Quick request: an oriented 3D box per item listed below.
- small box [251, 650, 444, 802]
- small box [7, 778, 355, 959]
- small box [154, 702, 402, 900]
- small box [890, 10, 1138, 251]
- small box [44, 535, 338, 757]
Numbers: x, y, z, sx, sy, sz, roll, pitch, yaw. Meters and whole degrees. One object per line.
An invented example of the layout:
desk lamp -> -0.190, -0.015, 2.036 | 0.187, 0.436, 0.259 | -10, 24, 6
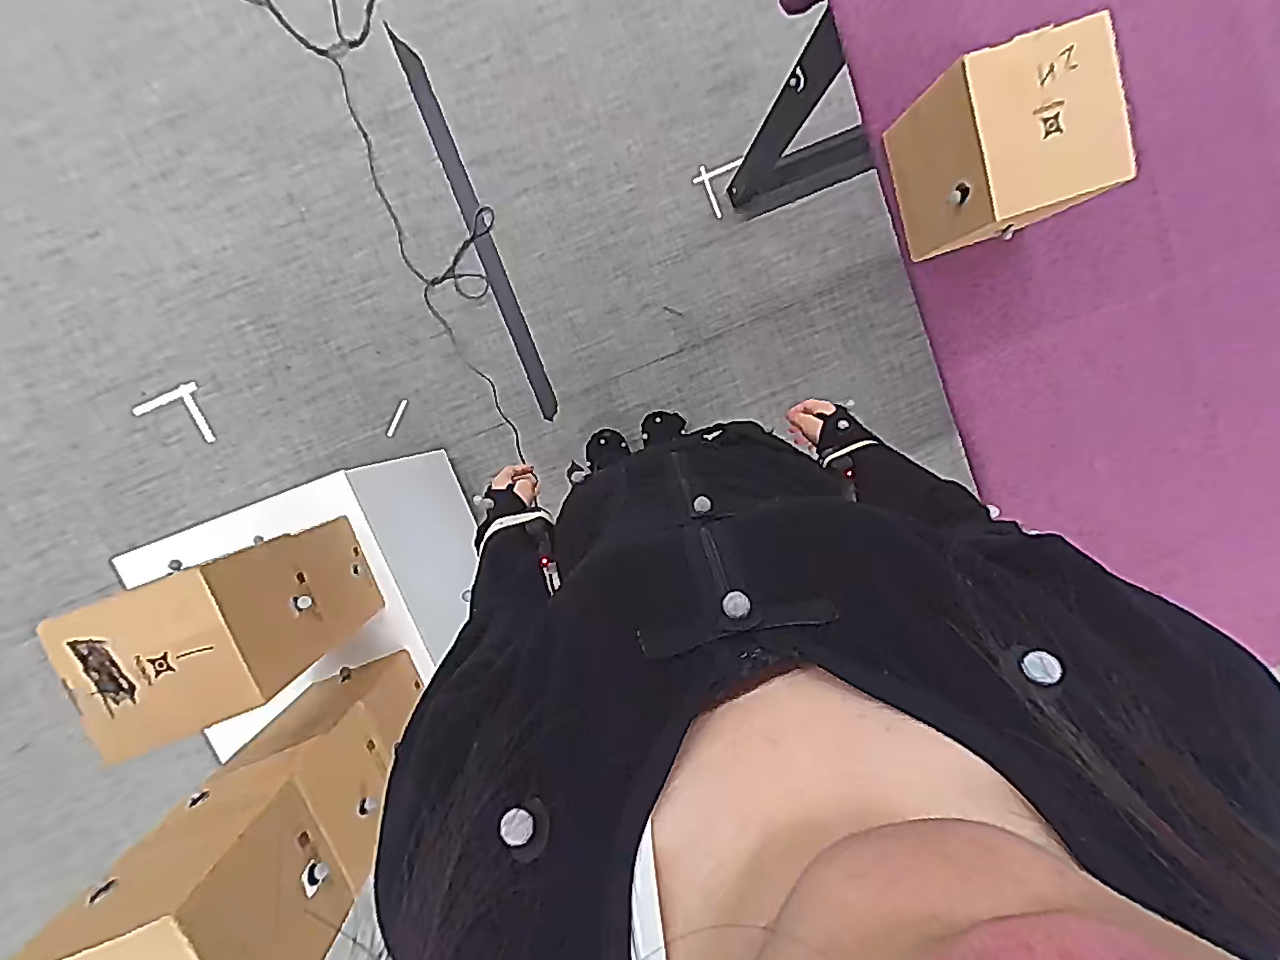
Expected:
small box -> -0.436, 0.394, 0.838 | 0.179, 0.176, 0.168 | -21, 98, 1
small box -> -0.418, 0.432, 0.516 | 0.179, 0.176, 0.168 | -23, 99, -1
small box -> -0.425, 0.413, 0.677 | 0.179, 0.176, 0.168 | -22, 98, 0
small box -> 0.435, -0.396, 0.653 | 0.168, 0.176, 0.179 | -18, 98, -1
small box -> -0.506, 0.181, 0.641 | 0.179, 0.176, 0.168 | -20, 98, -2
